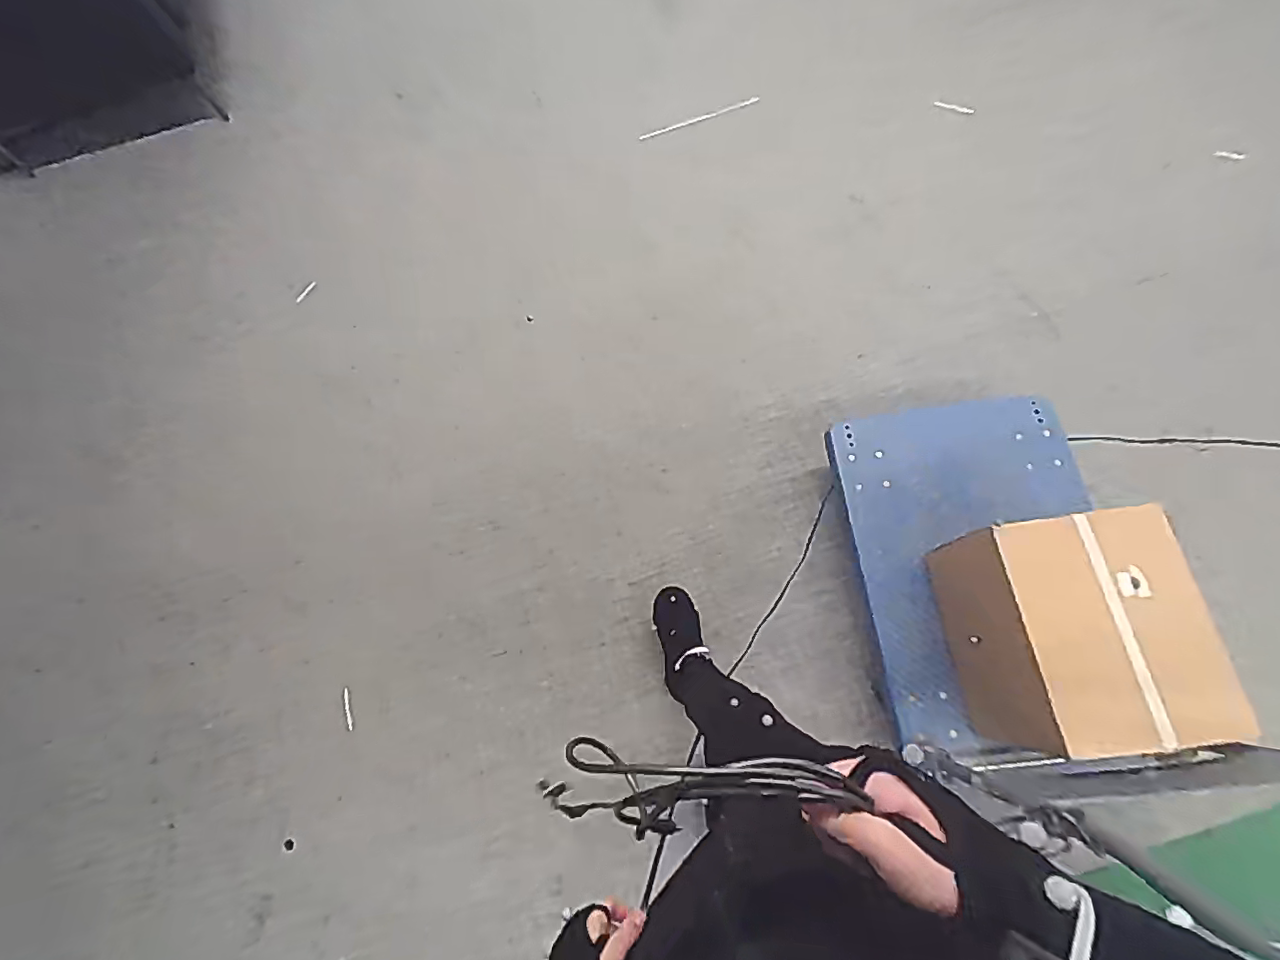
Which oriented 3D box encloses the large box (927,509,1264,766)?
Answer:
[{"bbox_3d":[0.840,0.308,1.077,0.320,0.320,0.408,-8,70,2],"label":"large box"}]
